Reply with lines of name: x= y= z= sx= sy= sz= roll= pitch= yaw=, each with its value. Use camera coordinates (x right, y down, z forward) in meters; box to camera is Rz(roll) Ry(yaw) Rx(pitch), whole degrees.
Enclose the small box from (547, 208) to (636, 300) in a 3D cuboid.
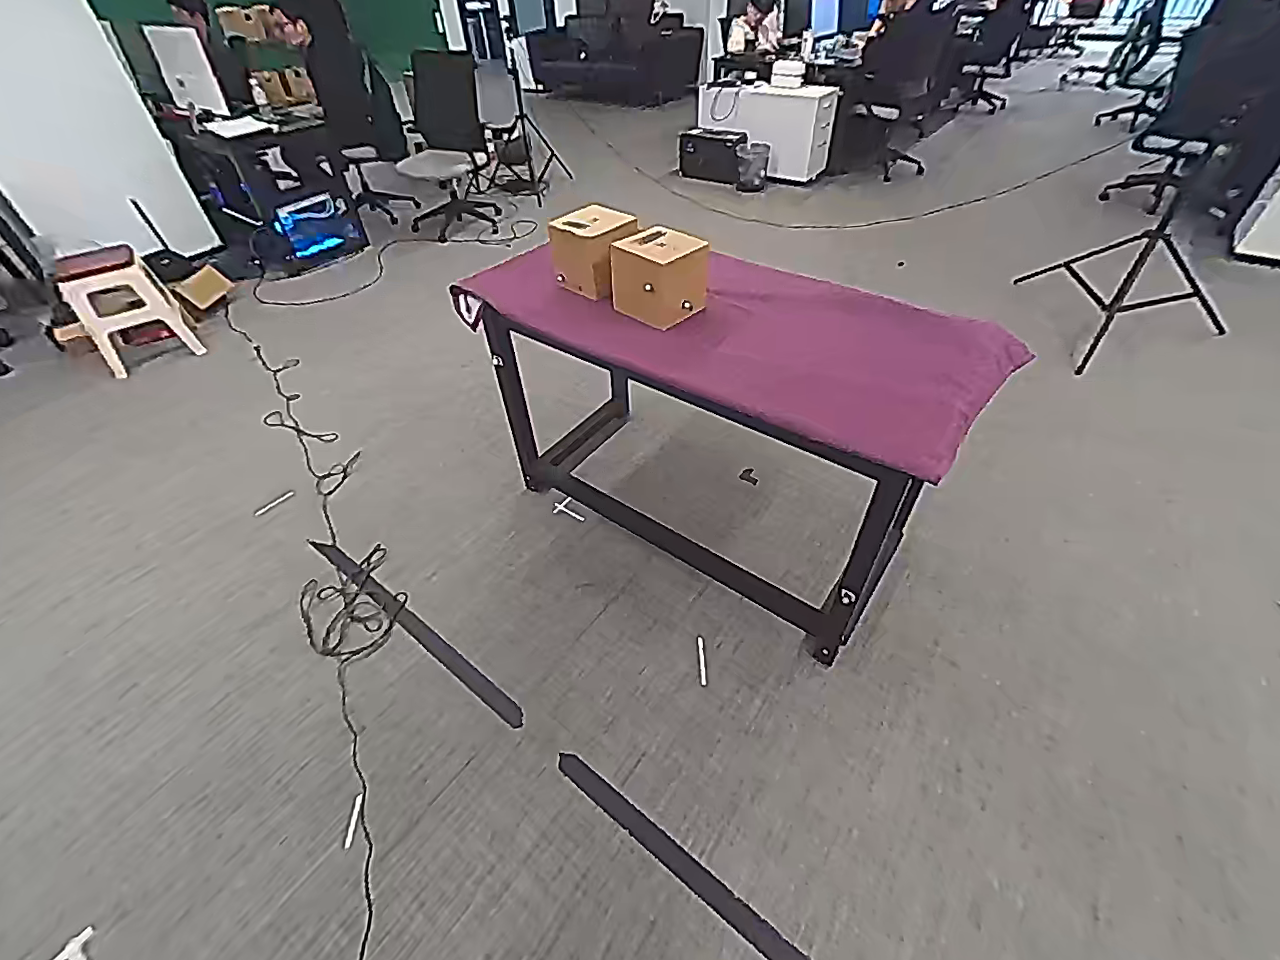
small box: x=-0.123 y=-0.612 z=1.470 sx=0.168 sy=0.176 sz=0.179 roll=32 pitch=54 yaw=30
